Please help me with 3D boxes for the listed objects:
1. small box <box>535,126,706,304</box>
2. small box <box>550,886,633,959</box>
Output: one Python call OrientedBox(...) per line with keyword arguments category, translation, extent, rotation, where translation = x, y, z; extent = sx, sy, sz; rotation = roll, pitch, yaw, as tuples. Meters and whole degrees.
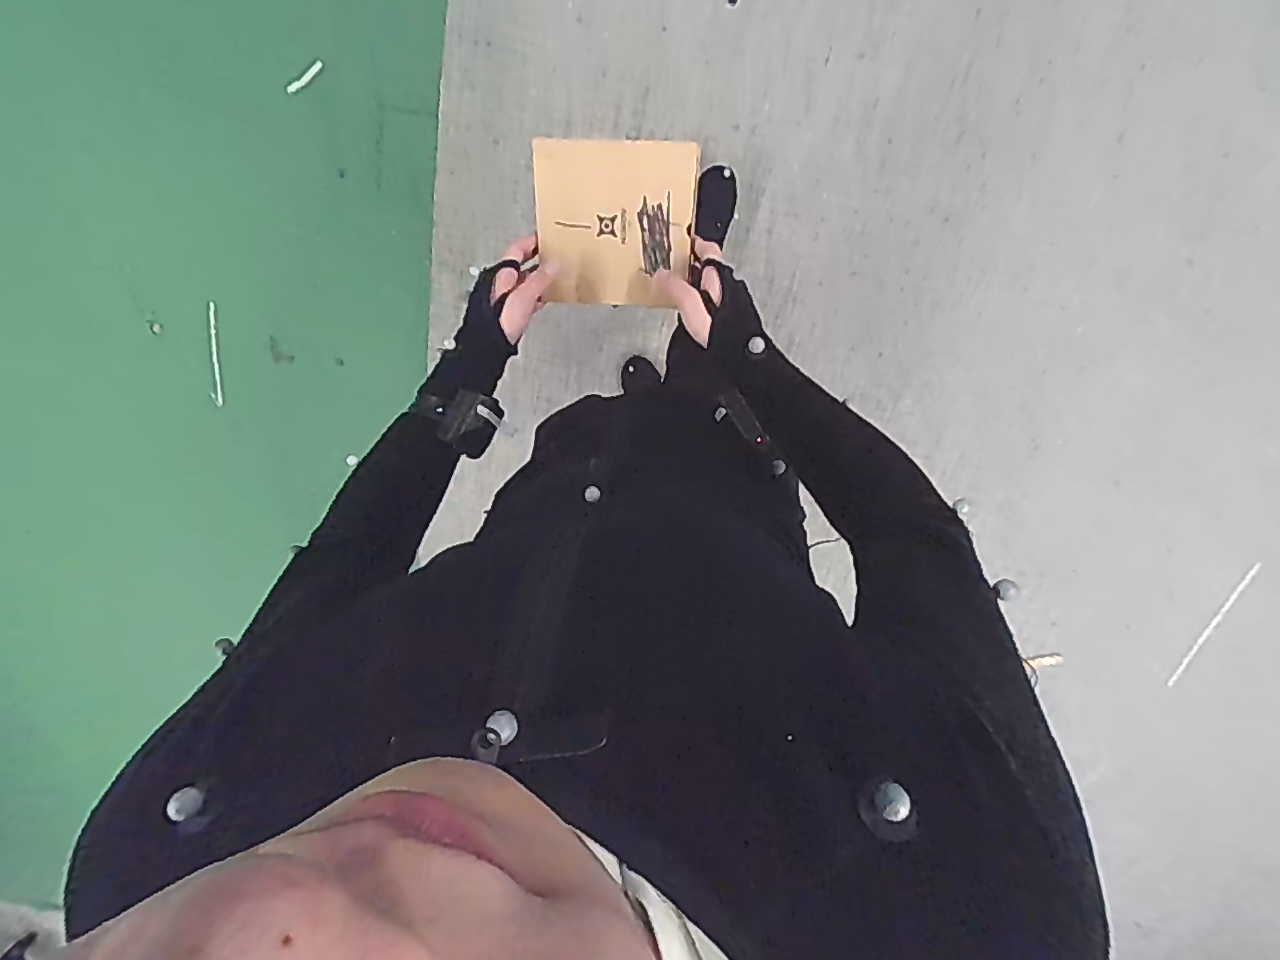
OrientedBox(category="small box", translation=(-0.018, -0.315, 0.646), extent=(0.179, 0.176, 0.168), rotation=(5, 118, 4))
OrientedBox(category="small box", translation=(-0.110, 1.063, 1.214), extent=(0.168, 0.176, 0.179), rotation=(7, 113, 1))
